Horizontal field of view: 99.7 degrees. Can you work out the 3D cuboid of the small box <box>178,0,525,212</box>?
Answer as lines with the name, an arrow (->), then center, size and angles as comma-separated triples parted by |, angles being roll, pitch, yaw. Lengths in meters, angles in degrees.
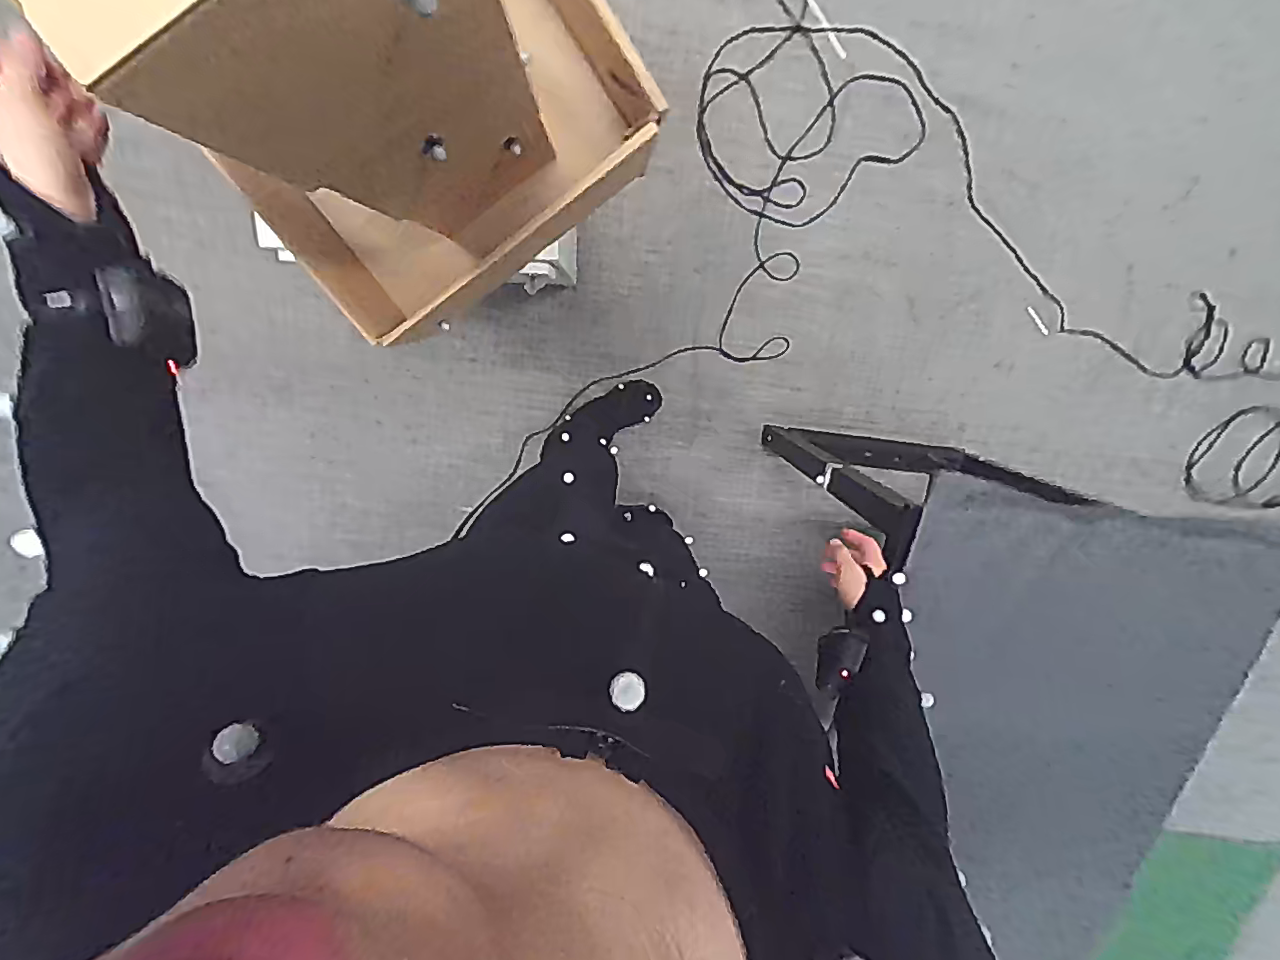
small box -> -0.209, -0.348, 0.428 | 0.179, 0.176, 0.168 | -33, 104, 8
